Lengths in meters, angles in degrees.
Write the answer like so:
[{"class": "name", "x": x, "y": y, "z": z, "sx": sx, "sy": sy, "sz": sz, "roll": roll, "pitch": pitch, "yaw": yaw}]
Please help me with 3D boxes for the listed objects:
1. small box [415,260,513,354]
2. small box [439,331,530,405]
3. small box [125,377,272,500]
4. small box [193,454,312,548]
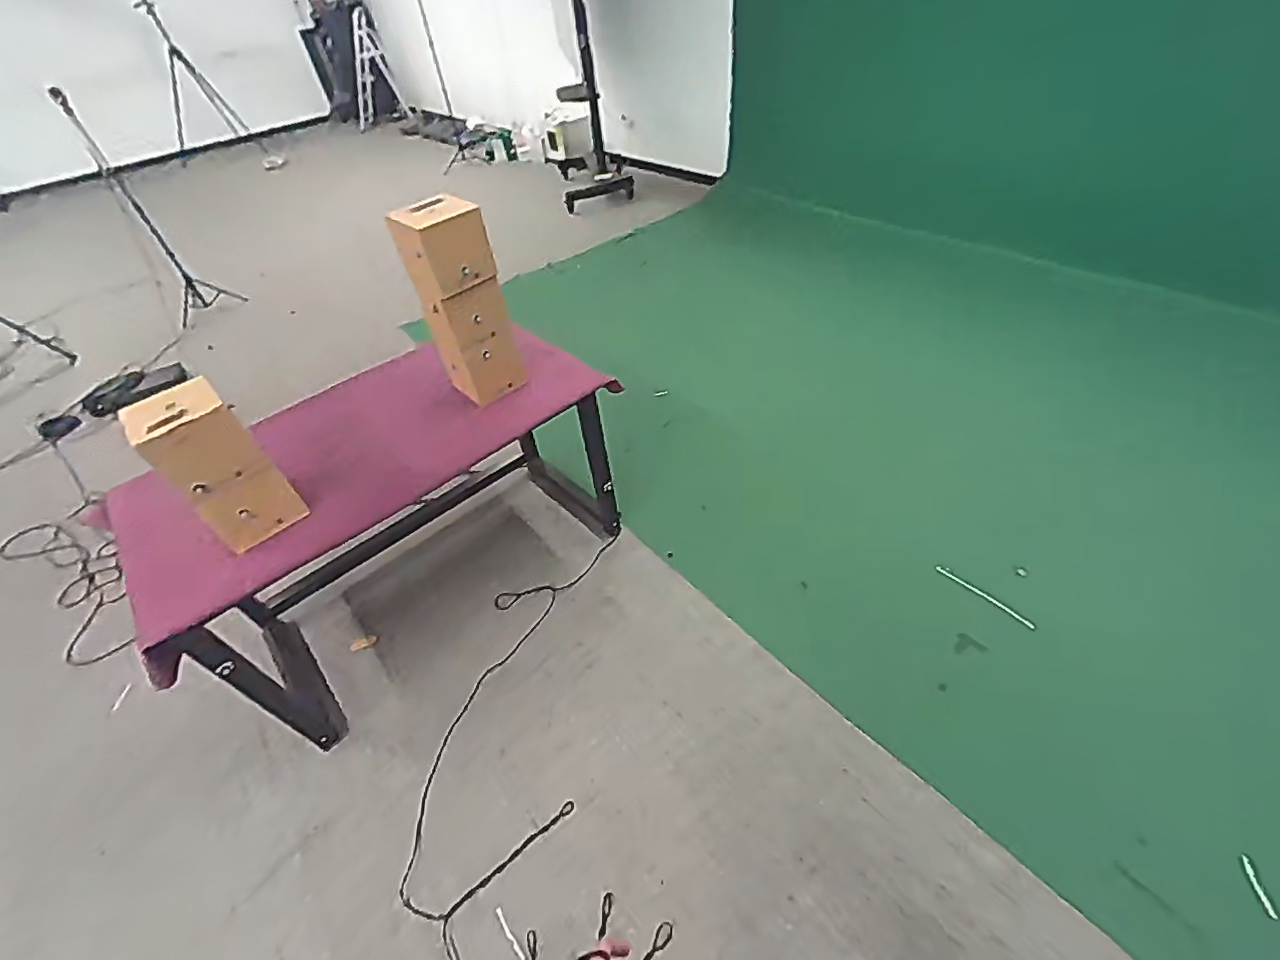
[{"class": "small box", "x": -0.464, "y": -0.460, "z": 1.449, "sx": 0.168, "sy": 0.176, "sz": 0.179, "roll": -35, "pitch": 50, "yaw": -24}, {"class": "small box", "x": -0.446, "y": -0.344, "z": 1.564, "sx": 0.168, "sy": 0.176, "sz": 0.179, "roll": -37, "pitch": 51, "yaw": -24}, {"class": "small box", "x": -0.922, "y": -0.083, "z": 1.141, "sx": 0.168, "sy": 0.176, "sz": 0.179, "roll": -37, "pitch": 50, "yaw": -26}, {"class": "small box", "x": -0.907, "y": 0.032, "z": 1.257, "sx": 0.168, "sy": 0.176, "sz": 0.179, "roll": -38, "pitch": 52, "yaw": -26}]
